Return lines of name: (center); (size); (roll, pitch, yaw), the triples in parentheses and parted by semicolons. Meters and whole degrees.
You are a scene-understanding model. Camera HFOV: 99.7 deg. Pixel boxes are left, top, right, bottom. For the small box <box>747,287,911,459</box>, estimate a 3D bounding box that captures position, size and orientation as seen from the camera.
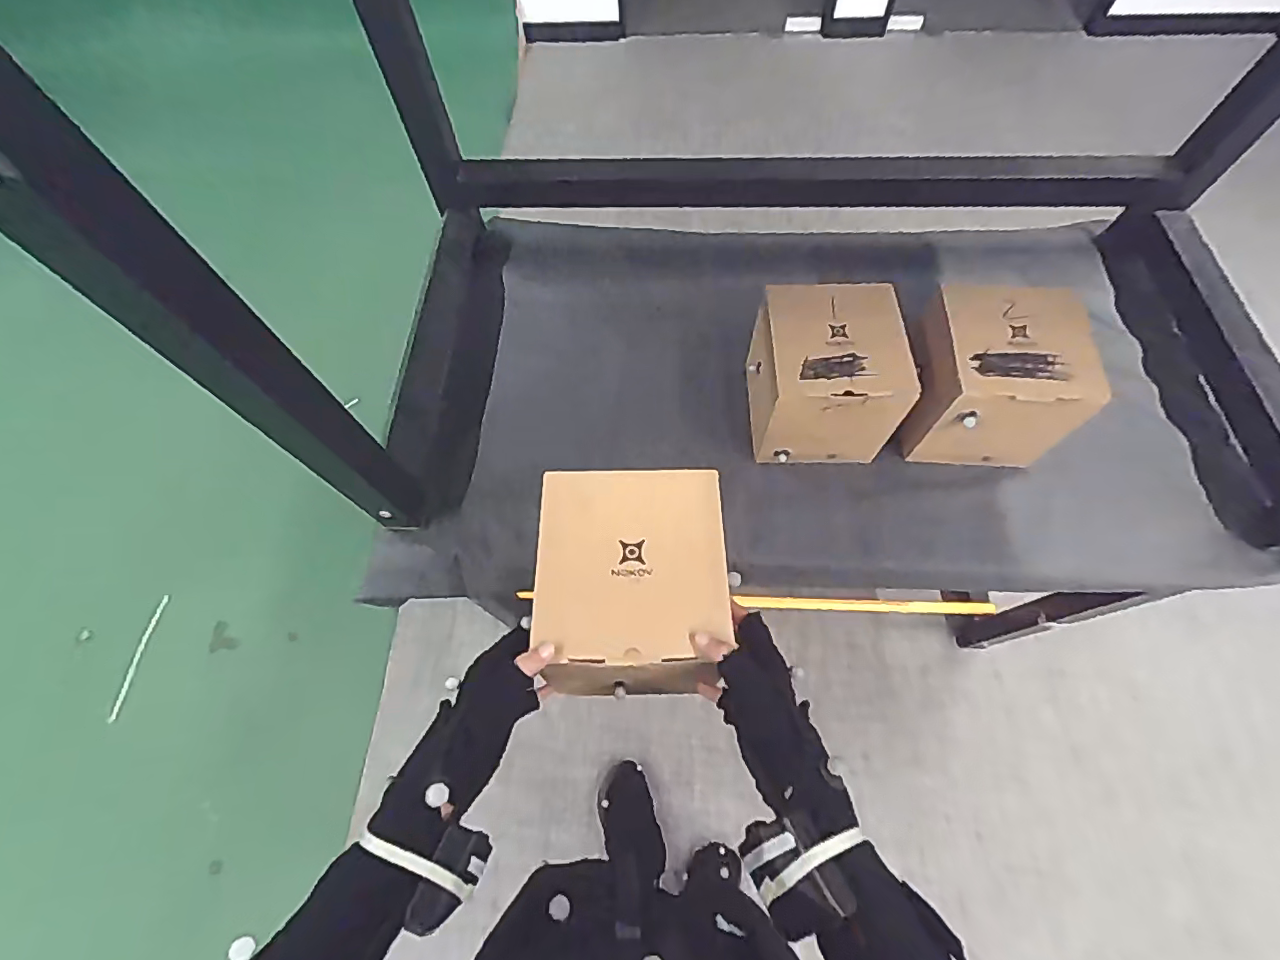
small box: (0.245, -0.139, 0.747); (0.168, 0.176, 0.179); (0, 63, 2)
